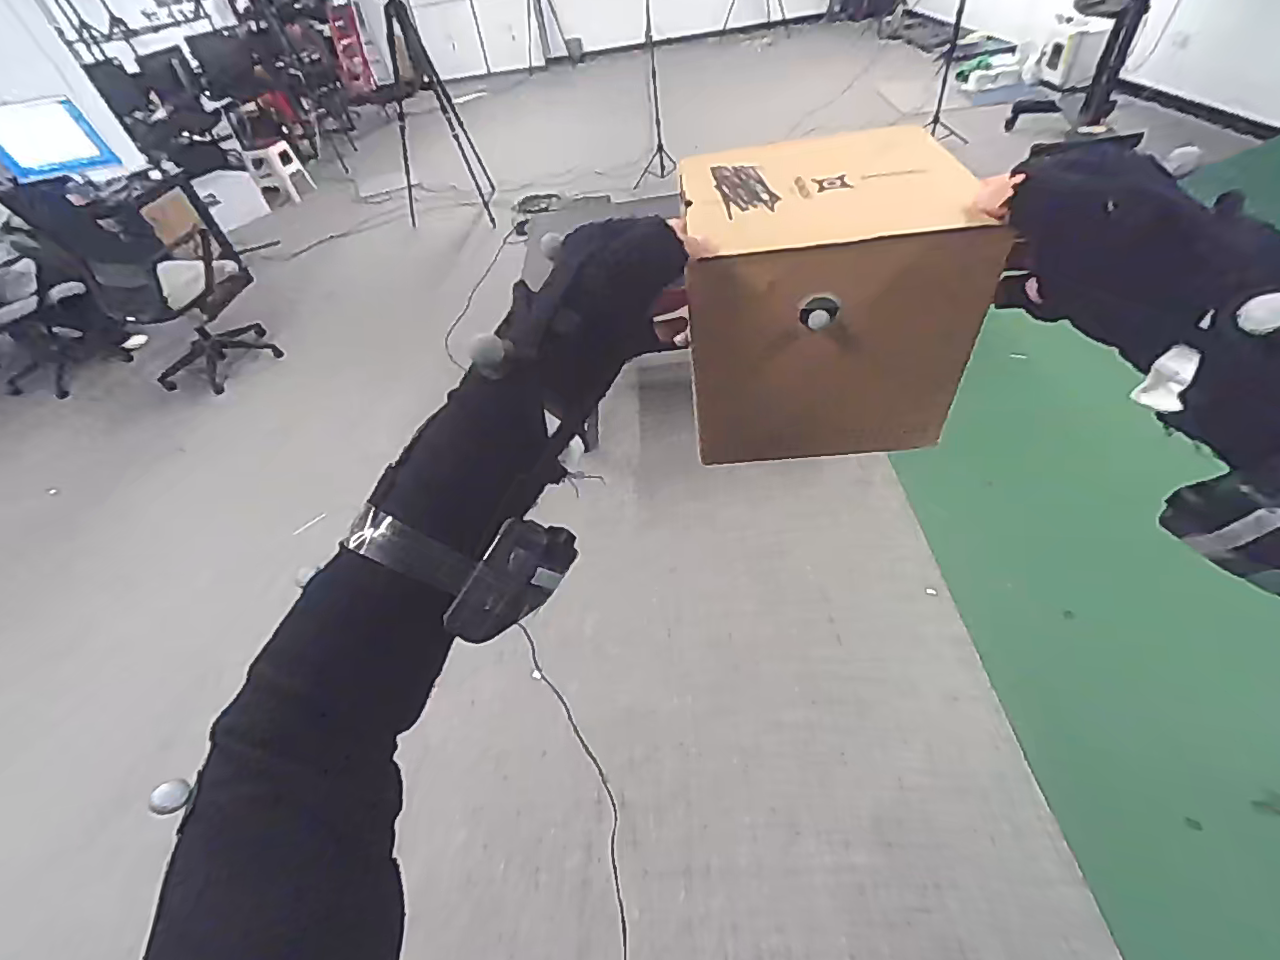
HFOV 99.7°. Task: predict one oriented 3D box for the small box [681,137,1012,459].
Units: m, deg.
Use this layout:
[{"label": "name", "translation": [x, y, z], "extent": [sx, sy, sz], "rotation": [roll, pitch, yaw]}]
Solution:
[{"label": "small box", "translation": [0.126, -0.129, 0.407], "extent": [0.179, 0.176, 0.168], "rotation": [-3, 48, 6]}]
